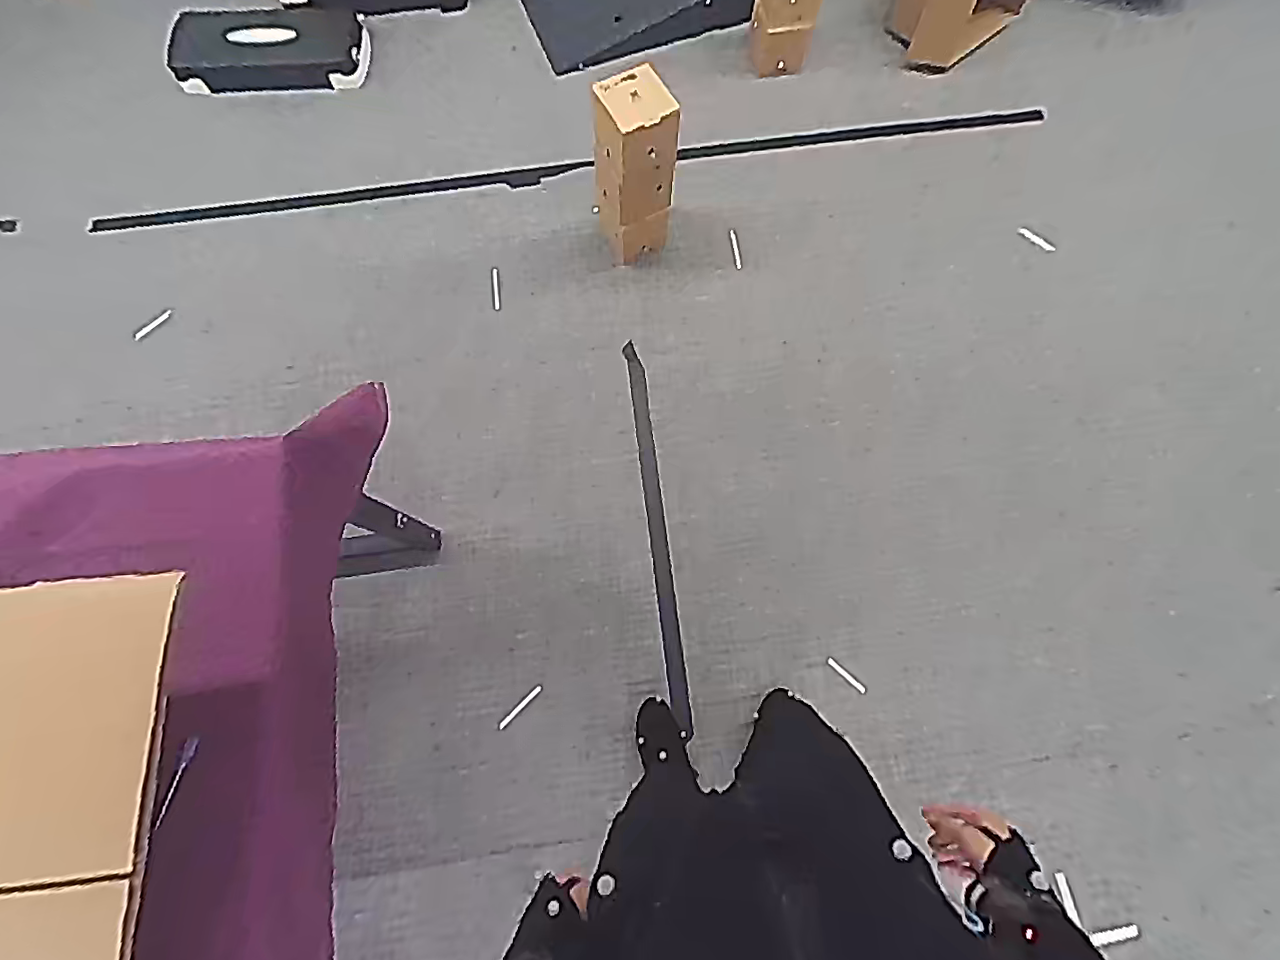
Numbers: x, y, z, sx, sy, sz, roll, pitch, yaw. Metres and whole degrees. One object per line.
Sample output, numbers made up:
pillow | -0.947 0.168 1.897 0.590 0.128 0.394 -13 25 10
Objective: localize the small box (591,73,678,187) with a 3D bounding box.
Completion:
small box | -0.015 -0.910 1.426 0.168 0.176 0.179 -27 76 -9
